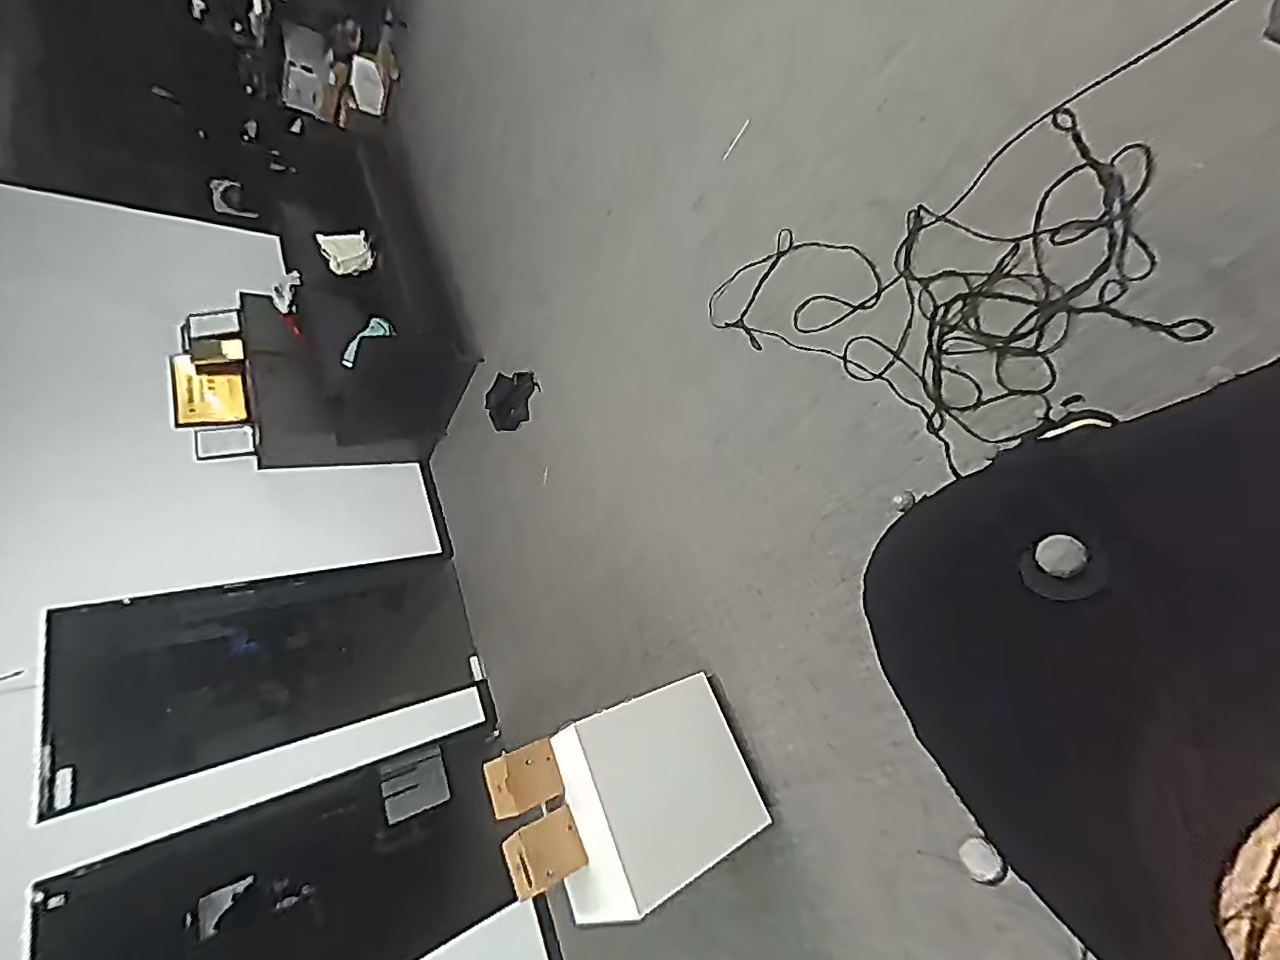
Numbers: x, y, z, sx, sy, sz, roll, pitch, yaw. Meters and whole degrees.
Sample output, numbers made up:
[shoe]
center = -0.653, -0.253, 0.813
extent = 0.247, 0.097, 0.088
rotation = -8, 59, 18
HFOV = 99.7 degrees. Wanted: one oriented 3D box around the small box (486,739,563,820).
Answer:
[small box]
center = -0.358, 0.934, 1.691
extent = 0.179, 0.176, 0.168
rotation = -45, 59, 43
